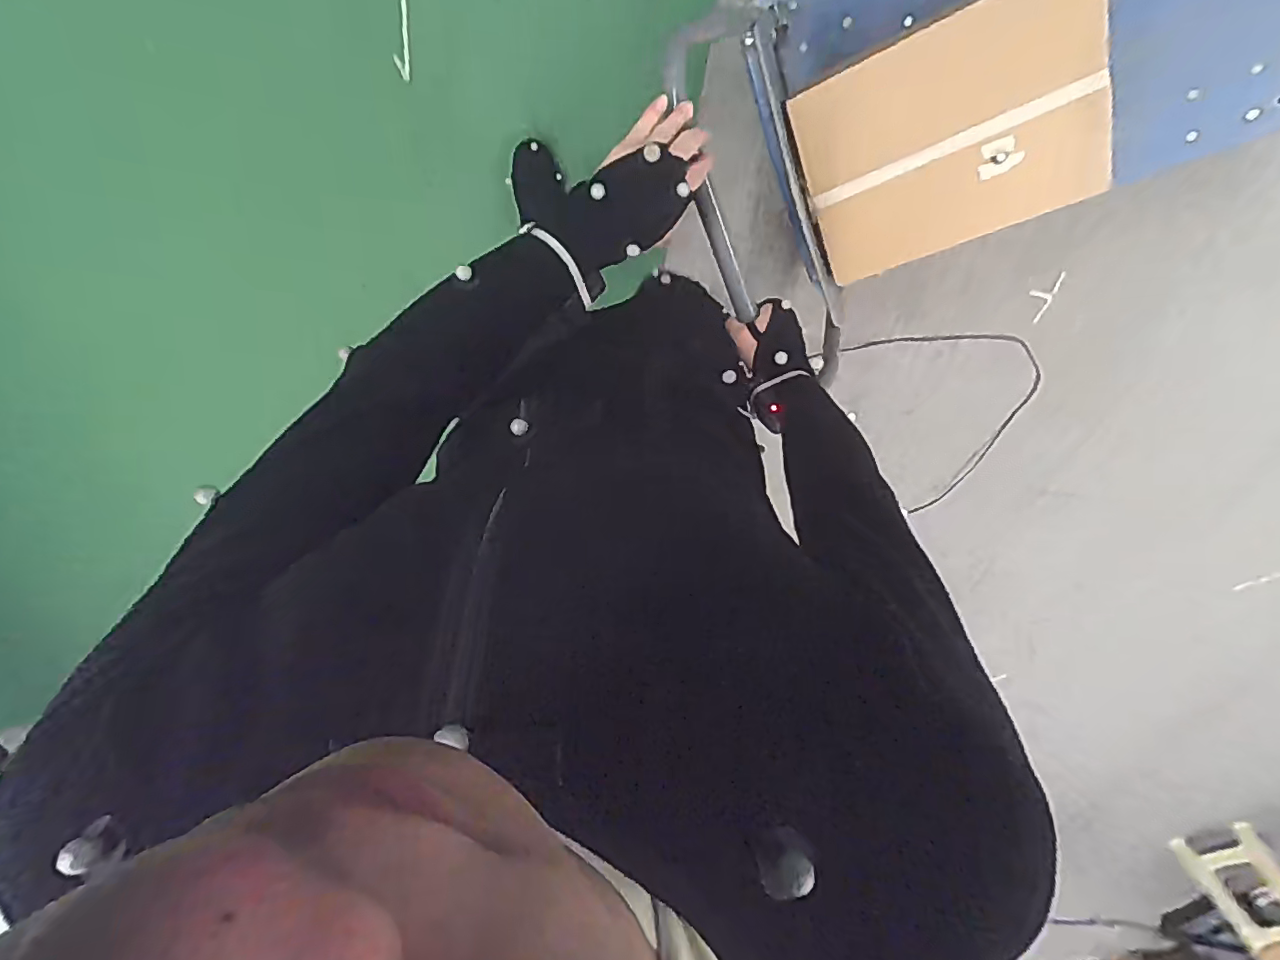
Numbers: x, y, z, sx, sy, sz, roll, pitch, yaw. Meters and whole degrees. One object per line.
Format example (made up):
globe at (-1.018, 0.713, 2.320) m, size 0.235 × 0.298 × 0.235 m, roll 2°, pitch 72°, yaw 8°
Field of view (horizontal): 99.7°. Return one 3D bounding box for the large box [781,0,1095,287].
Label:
large box at (0.492, -0.603, 0.960) m, size 0.408 × 0.320 × 0.320 m, roll -14°, pitch 122°, yaw 24°
